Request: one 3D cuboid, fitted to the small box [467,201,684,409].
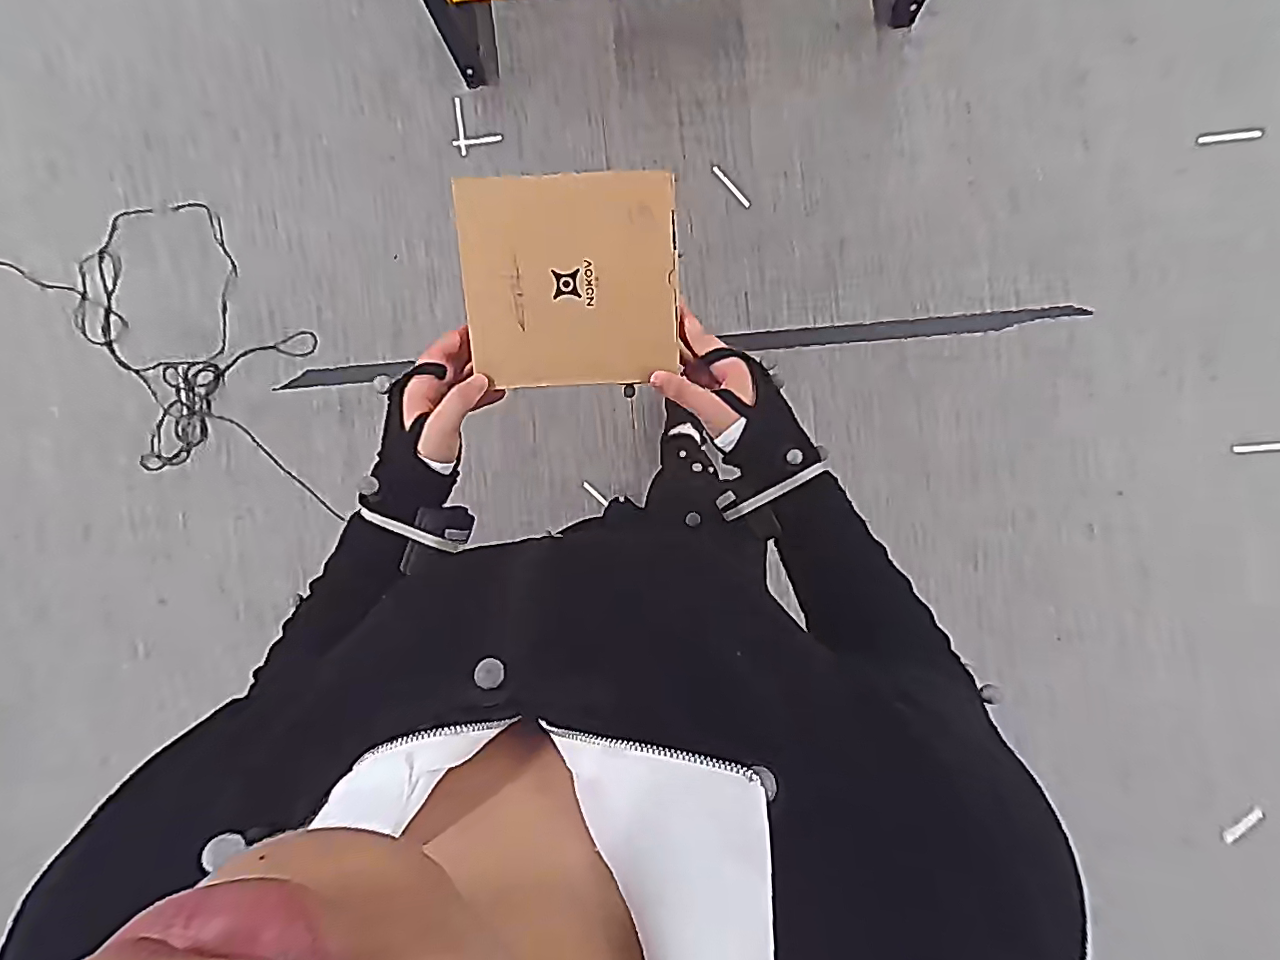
[{"bbox_3d":[-0.054,-0.162,0.539,0.179,0.176,0.168,-4,100,0],"label":"small box"}]
